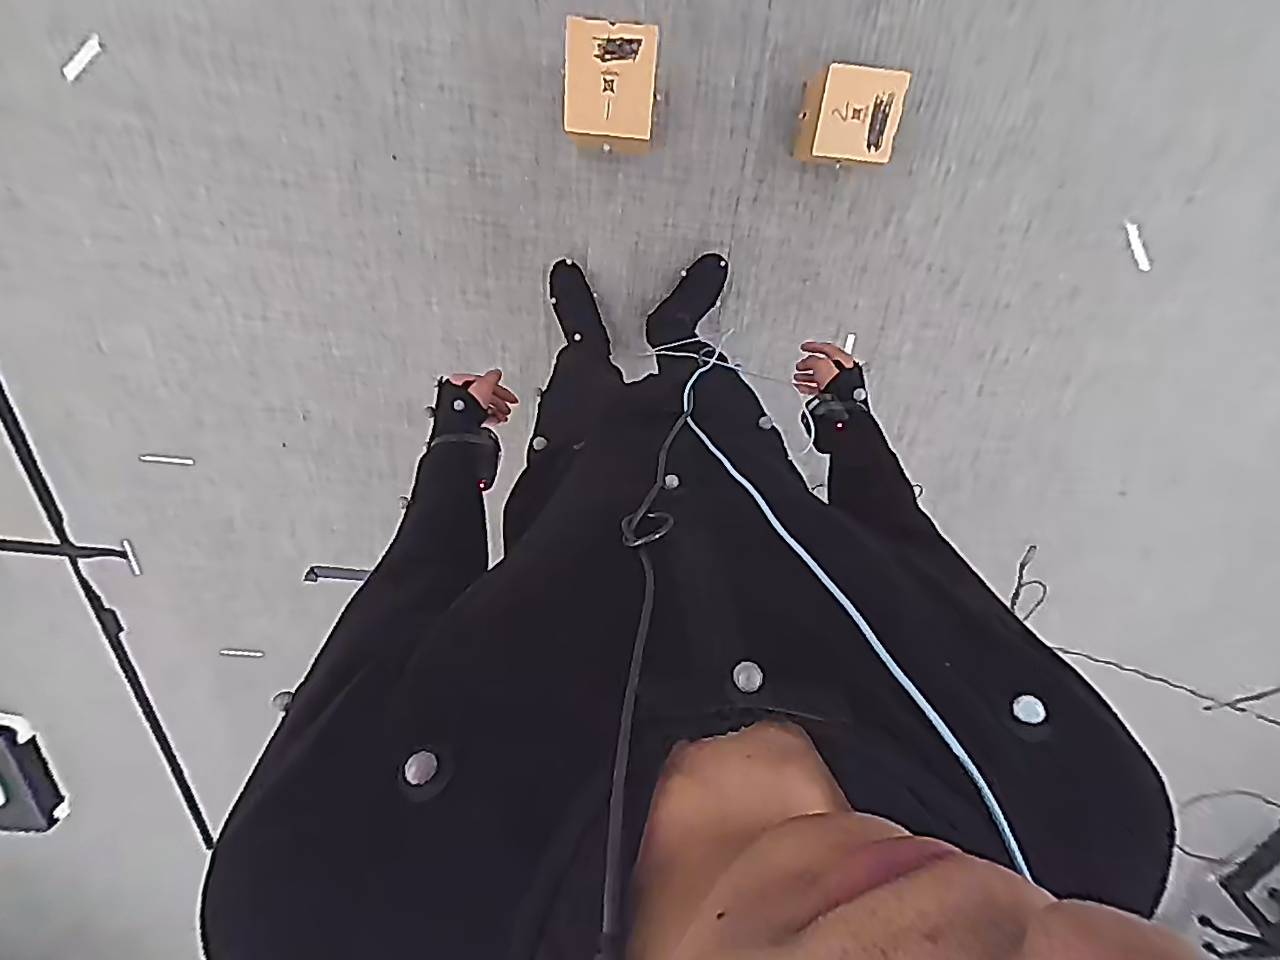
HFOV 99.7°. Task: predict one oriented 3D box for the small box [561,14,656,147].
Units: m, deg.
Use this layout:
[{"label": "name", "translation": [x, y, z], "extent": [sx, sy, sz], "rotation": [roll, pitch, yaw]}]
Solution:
[{"label": "small box", "translation": [-0.062, -0.768, 1.056], "extent": [0.168, 0.176, 0.179], "rotation": [5, 118, -3]}]
